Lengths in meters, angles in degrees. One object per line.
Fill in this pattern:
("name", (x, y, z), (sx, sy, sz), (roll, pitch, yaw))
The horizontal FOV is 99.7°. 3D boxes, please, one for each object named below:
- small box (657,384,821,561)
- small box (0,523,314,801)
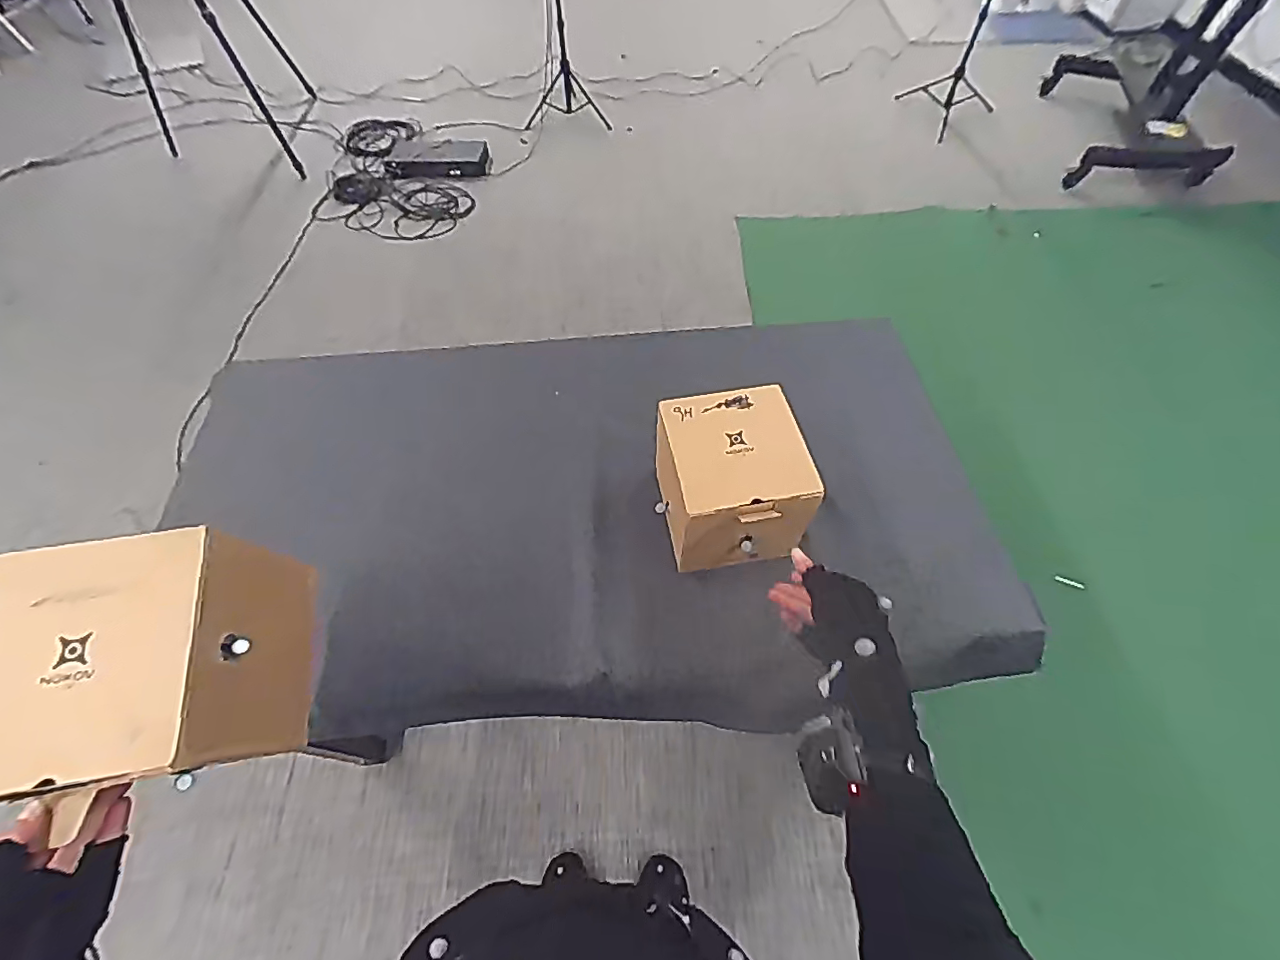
("small box", (0.119, -0.002, 0.729), (0.168, 0.176, 0.179), (-8, 59, -6))
("small box", (-0.404, 0.153, 0.458), (0.168, 0.176, 0.179), (-8, 68, -6))
